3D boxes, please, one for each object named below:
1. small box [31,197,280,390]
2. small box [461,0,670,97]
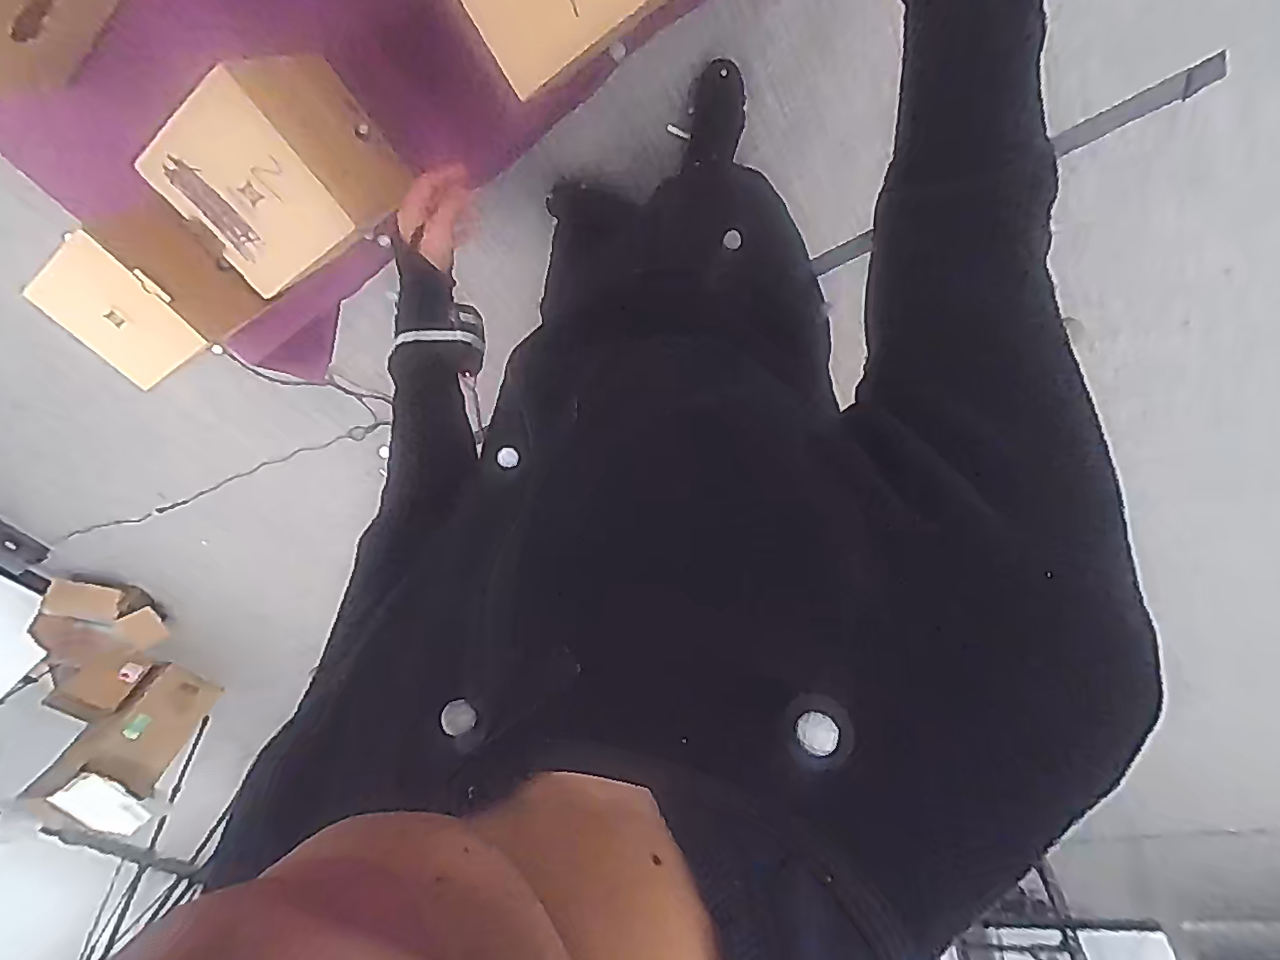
[{"bbox_3d":[-0.661,-0.262,0.761,0.179,0.176,0.168,-20,125,24],"label":"small box"},{"bbox_3d":[-0.071,-0.476,0.464,0.168,0.176,0.179,-19,126,26],"label":"small box"}]
